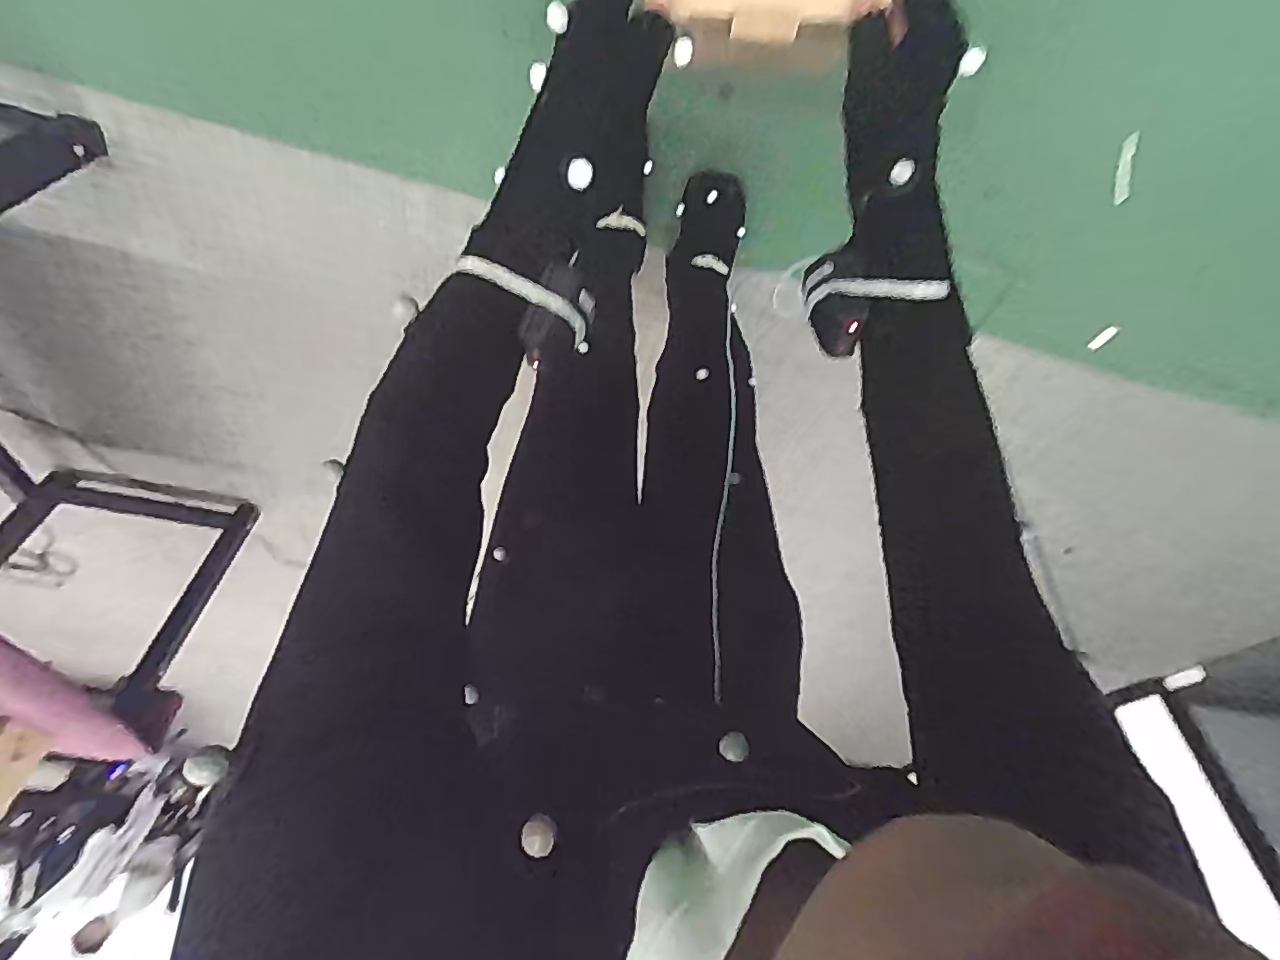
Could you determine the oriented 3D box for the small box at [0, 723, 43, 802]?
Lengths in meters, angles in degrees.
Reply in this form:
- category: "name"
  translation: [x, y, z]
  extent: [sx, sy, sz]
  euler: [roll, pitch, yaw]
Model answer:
- category: "small box"
  translation: [-1.383, 0.582, 1.074]
  extent: [0.179, 0.176, 0.168]
  euler: [12, 138, -10]
